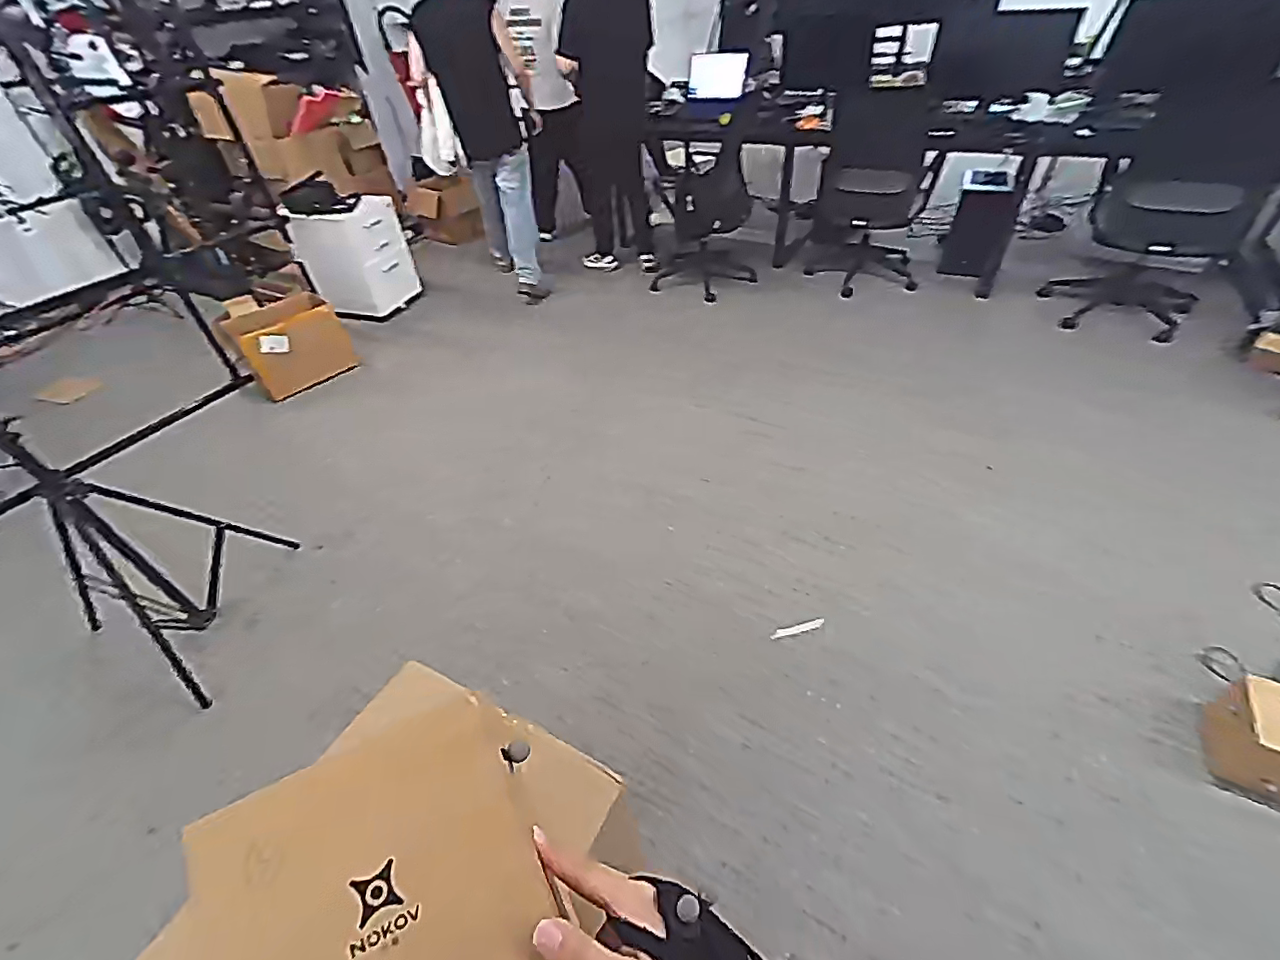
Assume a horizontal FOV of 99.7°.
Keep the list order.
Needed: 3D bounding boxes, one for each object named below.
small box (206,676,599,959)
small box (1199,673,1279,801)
[{"bbox_3d":[-0.138,0.259,0.355,0.168,0.176,0.179,-21,66,-18],"label":"small box"},{"bbox_3d":[1.375,0.564,1.176,0.168,0.176,0.179,18,48,24],"label":"small box"}]
